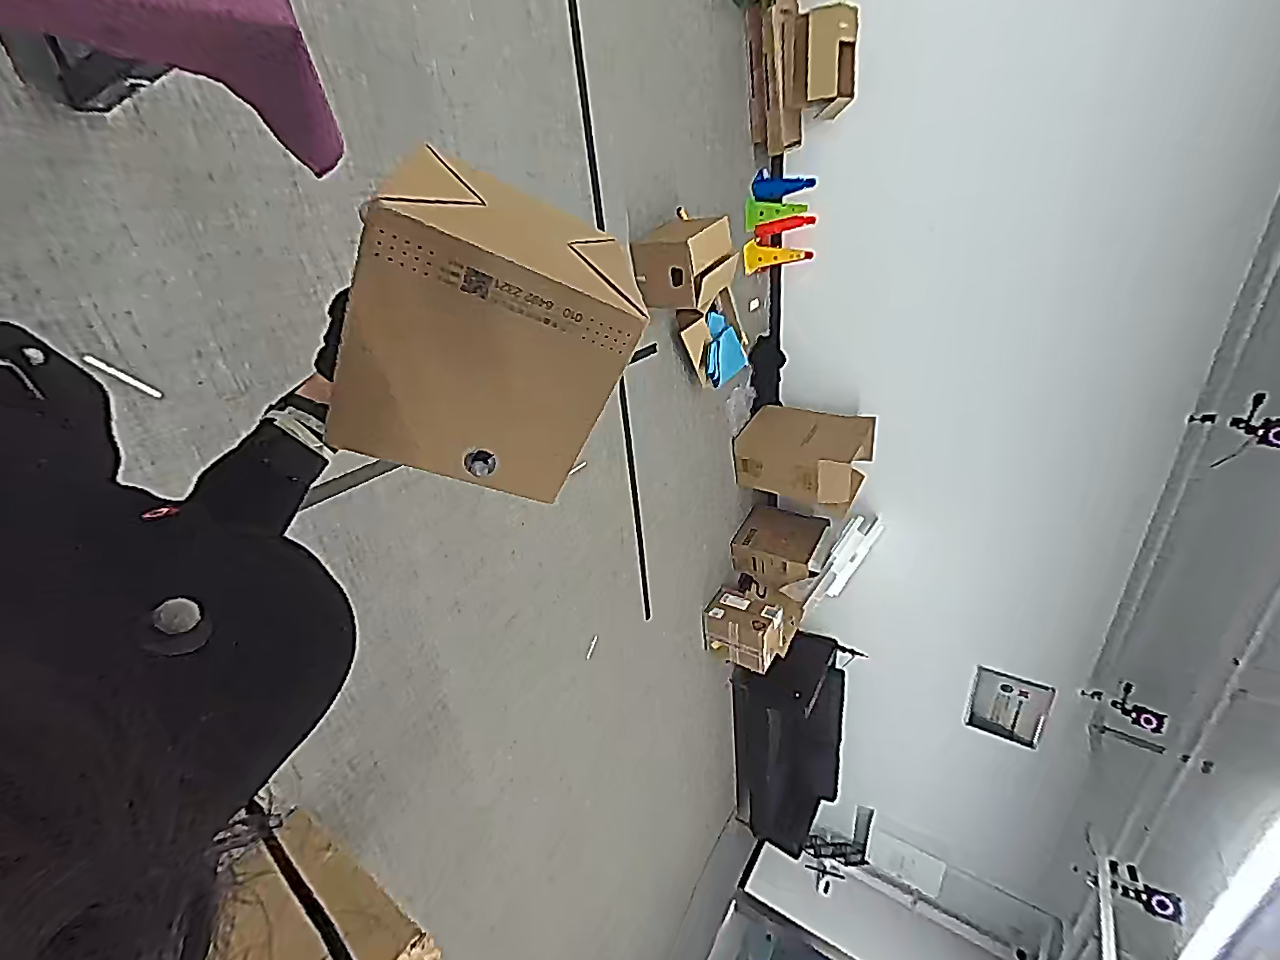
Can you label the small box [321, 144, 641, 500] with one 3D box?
[{"bbox_3d":[-0.114,-0.119,0.408,0.168,0.179,0.176,17,125,-24],"label":"small box"}]
